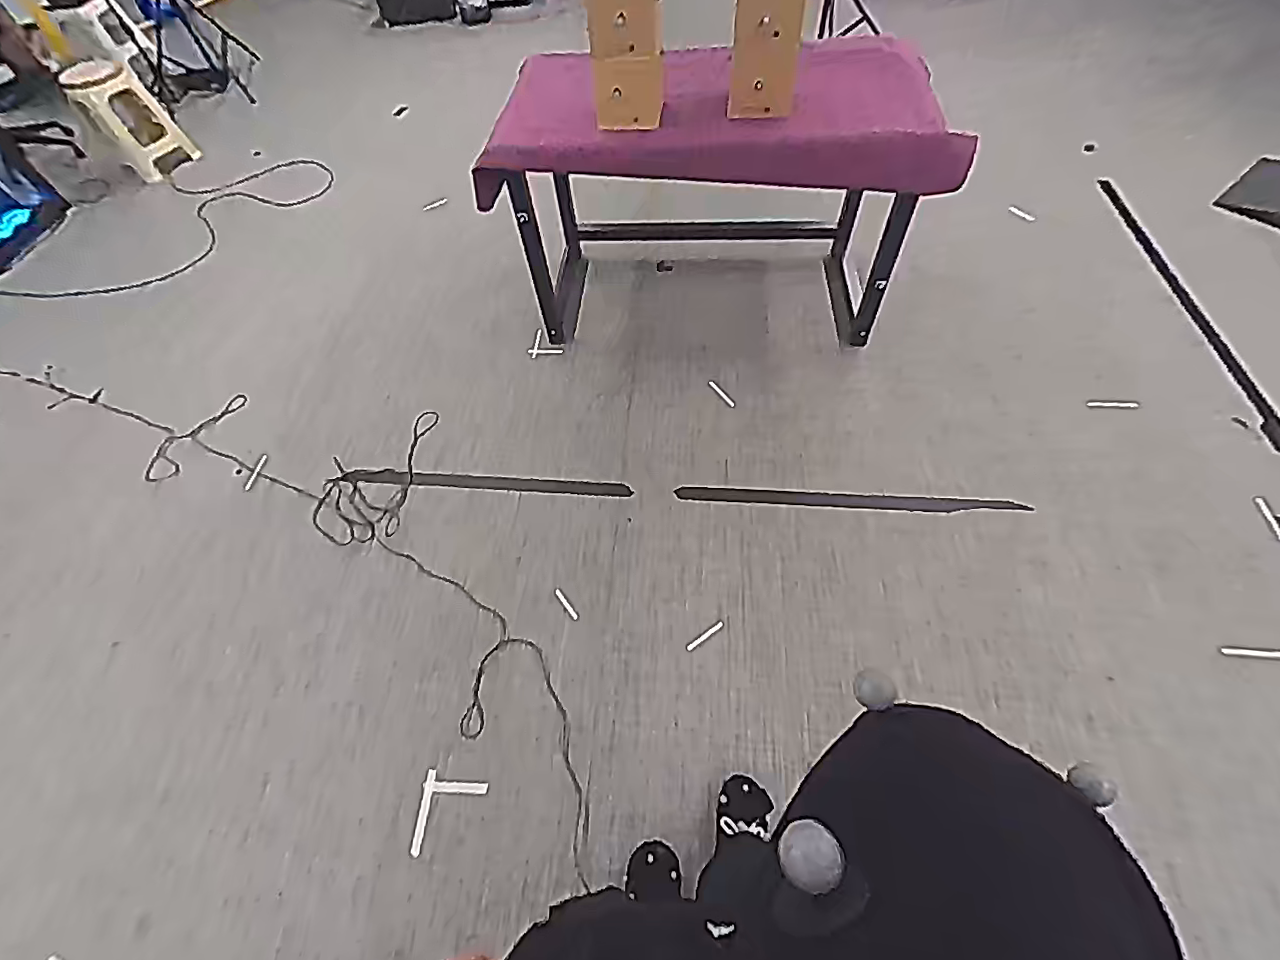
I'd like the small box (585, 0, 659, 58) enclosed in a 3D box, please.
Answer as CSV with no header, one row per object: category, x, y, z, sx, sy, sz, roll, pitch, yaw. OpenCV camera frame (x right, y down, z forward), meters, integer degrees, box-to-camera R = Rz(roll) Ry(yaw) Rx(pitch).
small box,-0.040,-1.167,1.331,0.168,0.176,0.179,1,57,5

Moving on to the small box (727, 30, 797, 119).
small box,0.326,-1.099,1.453,0.168,0.176,0.179,5,57,7

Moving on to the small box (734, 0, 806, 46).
small box,0.319,-1.191,1.317,0.168,0.176,0.179,4,58,8

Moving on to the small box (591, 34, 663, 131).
small box,-0.028,-1.072,1.464,0.168,0.176,0.179,3,56,6
